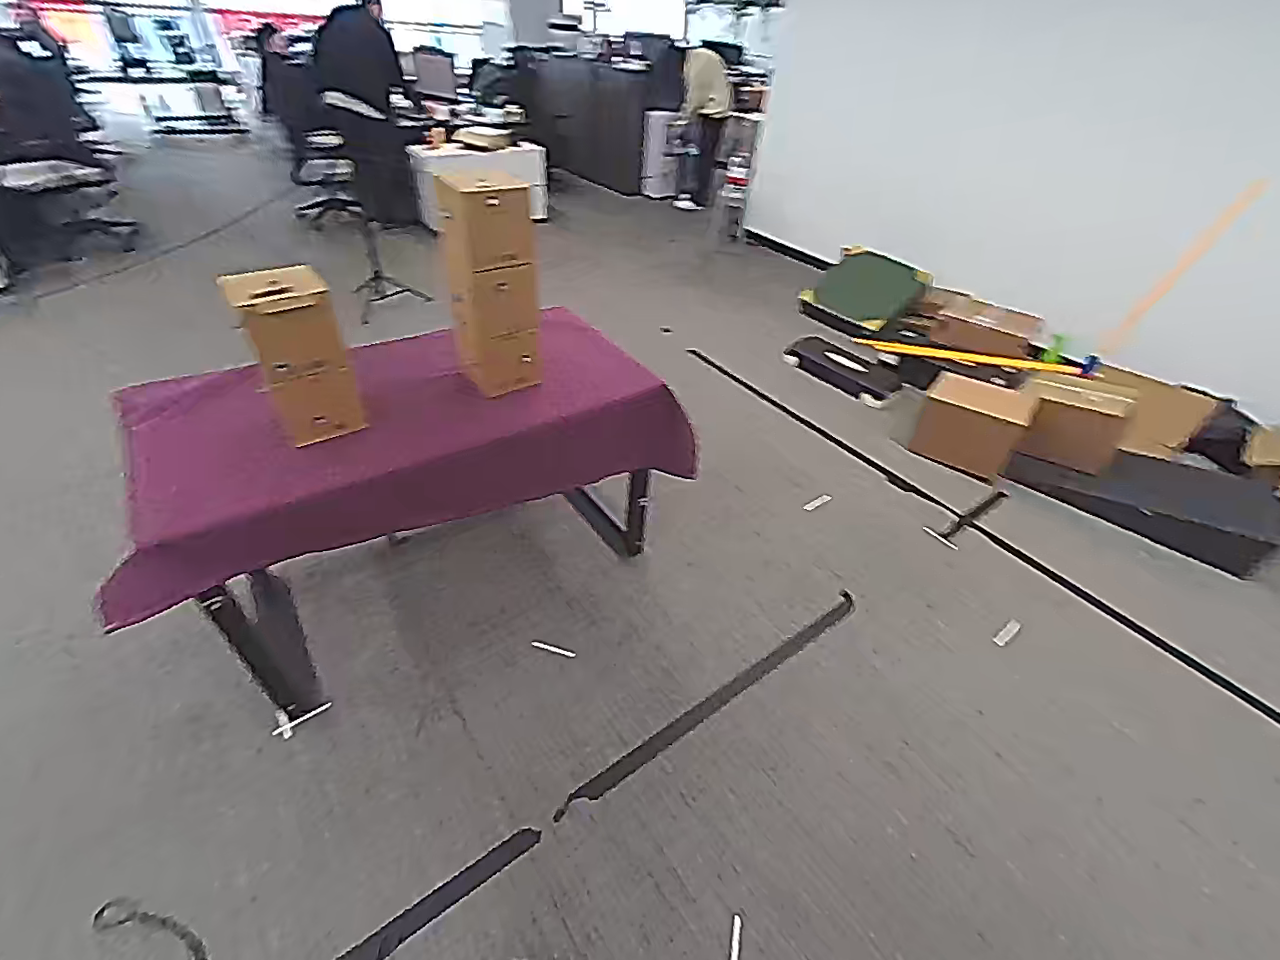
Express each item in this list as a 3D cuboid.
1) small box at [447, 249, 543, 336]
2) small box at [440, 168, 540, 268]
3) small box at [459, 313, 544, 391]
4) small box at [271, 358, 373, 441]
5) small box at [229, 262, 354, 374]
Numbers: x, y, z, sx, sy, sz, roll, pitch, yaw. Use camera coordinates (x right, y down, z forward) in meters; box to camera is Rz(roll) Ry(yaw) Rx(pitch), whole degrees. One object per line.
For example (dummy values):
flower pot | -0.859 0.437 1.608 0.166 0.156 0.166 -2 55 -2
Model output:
small box | -0.356 -0.478 1.351 0.179 0.176 0.168 -23 49 -30
small box | -0.344 -0.606 1.250 0.168 0.176 0.179 -23 48 -29
small box | -0.369 -0.356 1.460 0.168 0.176 0.179 -22 47 -29
small box | -0.747 -0.218 1.262 0.168 0.176 0.179 -23 49 -29
small box | -0.737 -0.342 1.154 0.168 0.176 0.179 -24 49 -30
